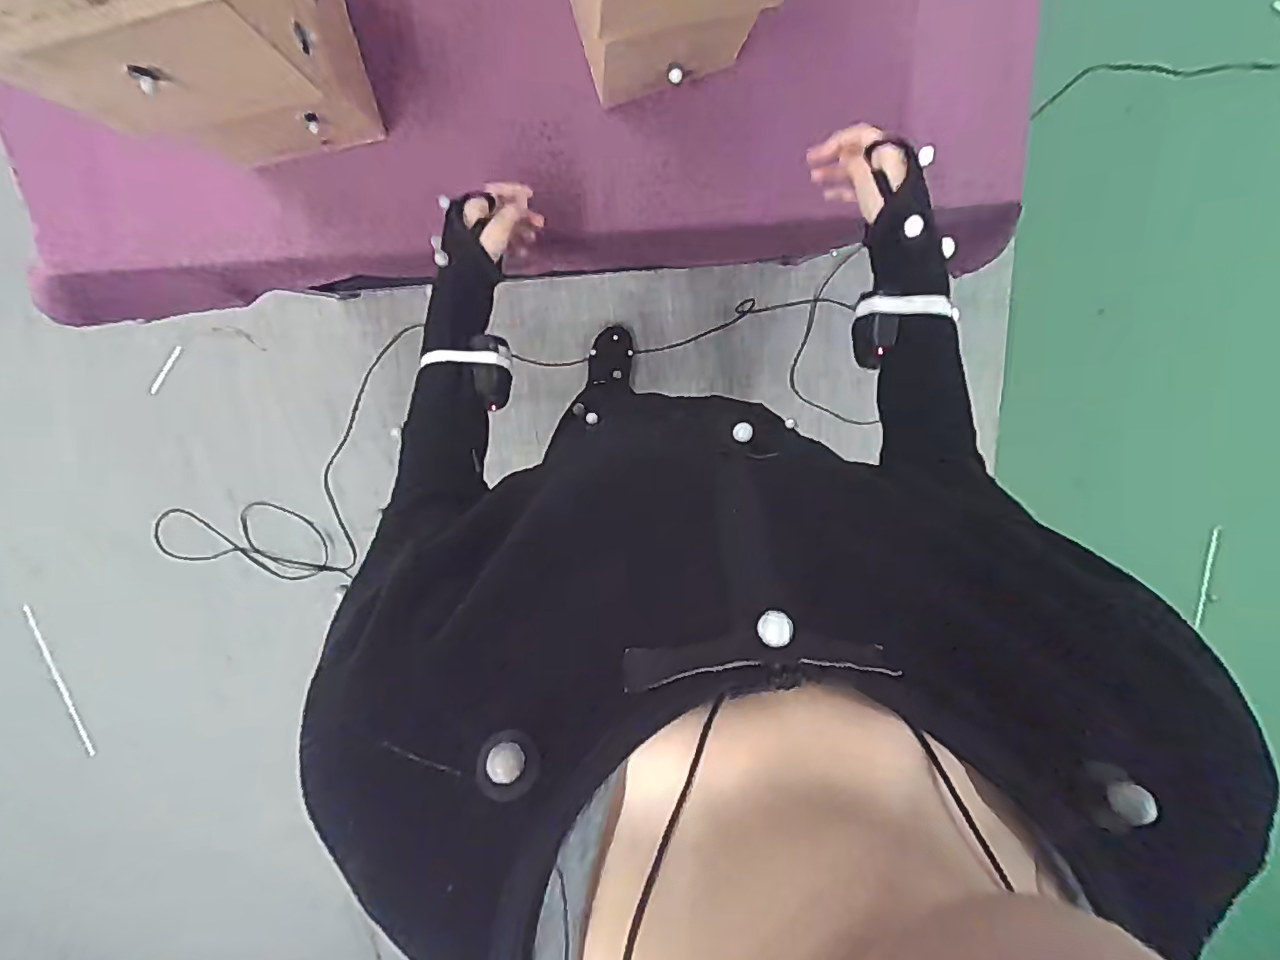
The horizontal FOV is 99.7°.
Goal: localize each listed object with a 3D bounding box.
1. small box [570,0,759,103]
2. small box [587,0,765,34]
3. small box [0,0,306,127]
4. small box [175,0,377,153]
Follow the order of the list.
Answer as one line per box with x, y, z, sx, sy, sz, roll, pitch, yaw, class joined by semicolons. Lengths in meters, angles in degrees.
0.011;-0.526;0.540;0.168;0.176;0.179;-18;106;0;small box
0.032;-0.466;0.387;0.179;0.176;0.168;-13;106;-2;small box
-0.370;-0.378;0.376;0.179;0.176;0.168;-13;106;-2;small box
-0.386;-0.444;0.527;0.168;0.176;0.179;-13;105;-3;small box
